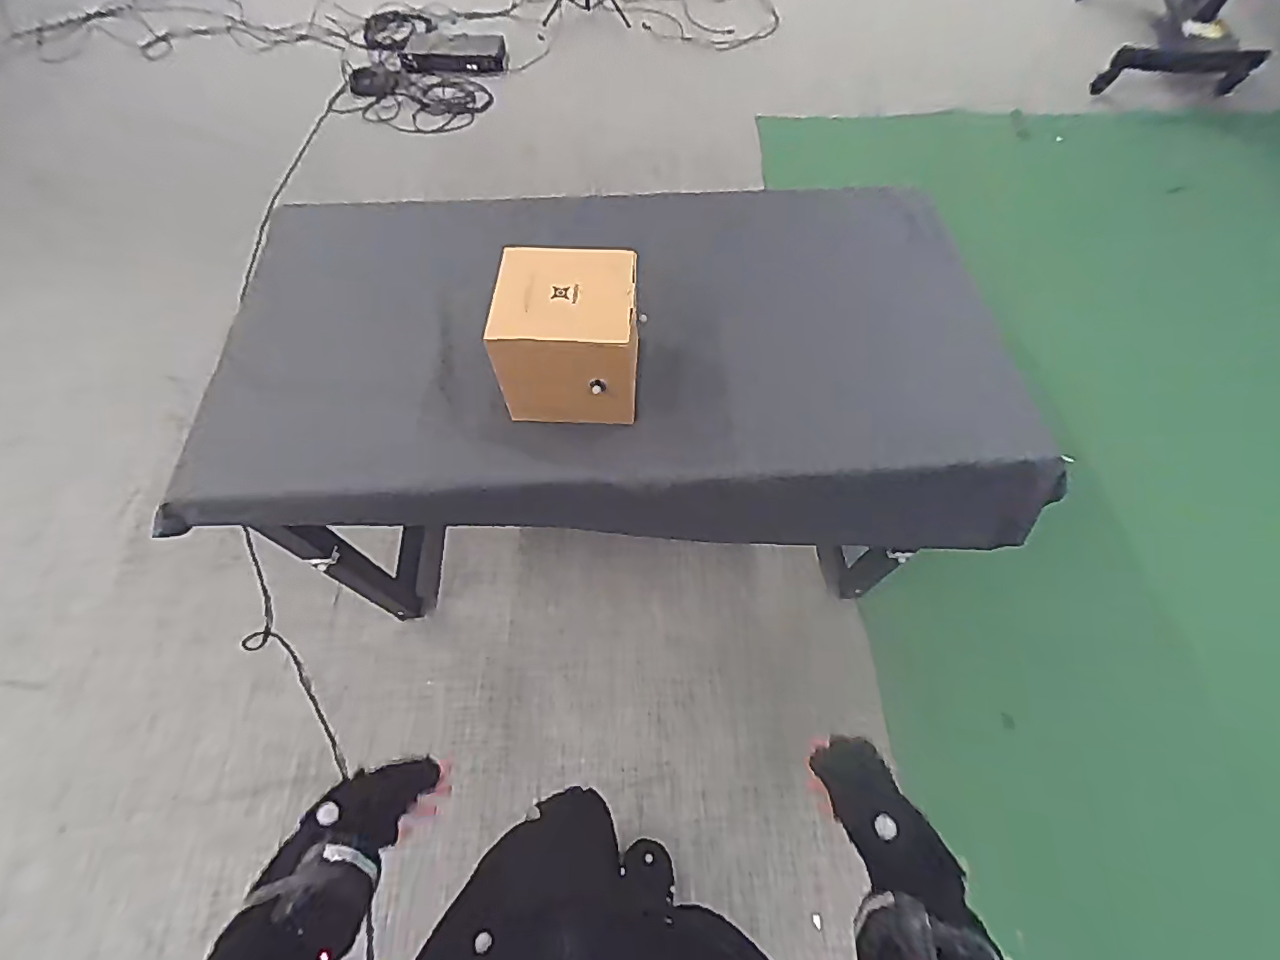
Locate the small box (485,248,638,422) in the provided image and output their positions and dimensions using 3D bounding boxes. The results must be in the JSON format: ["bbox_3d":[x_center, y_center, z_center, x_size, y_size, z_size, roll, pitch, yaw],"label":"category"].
[{"bbox_3d":[-0.093,-0.193,0.745,0.179,0.176,0.168,1,61,2],"label":"small box"}]
